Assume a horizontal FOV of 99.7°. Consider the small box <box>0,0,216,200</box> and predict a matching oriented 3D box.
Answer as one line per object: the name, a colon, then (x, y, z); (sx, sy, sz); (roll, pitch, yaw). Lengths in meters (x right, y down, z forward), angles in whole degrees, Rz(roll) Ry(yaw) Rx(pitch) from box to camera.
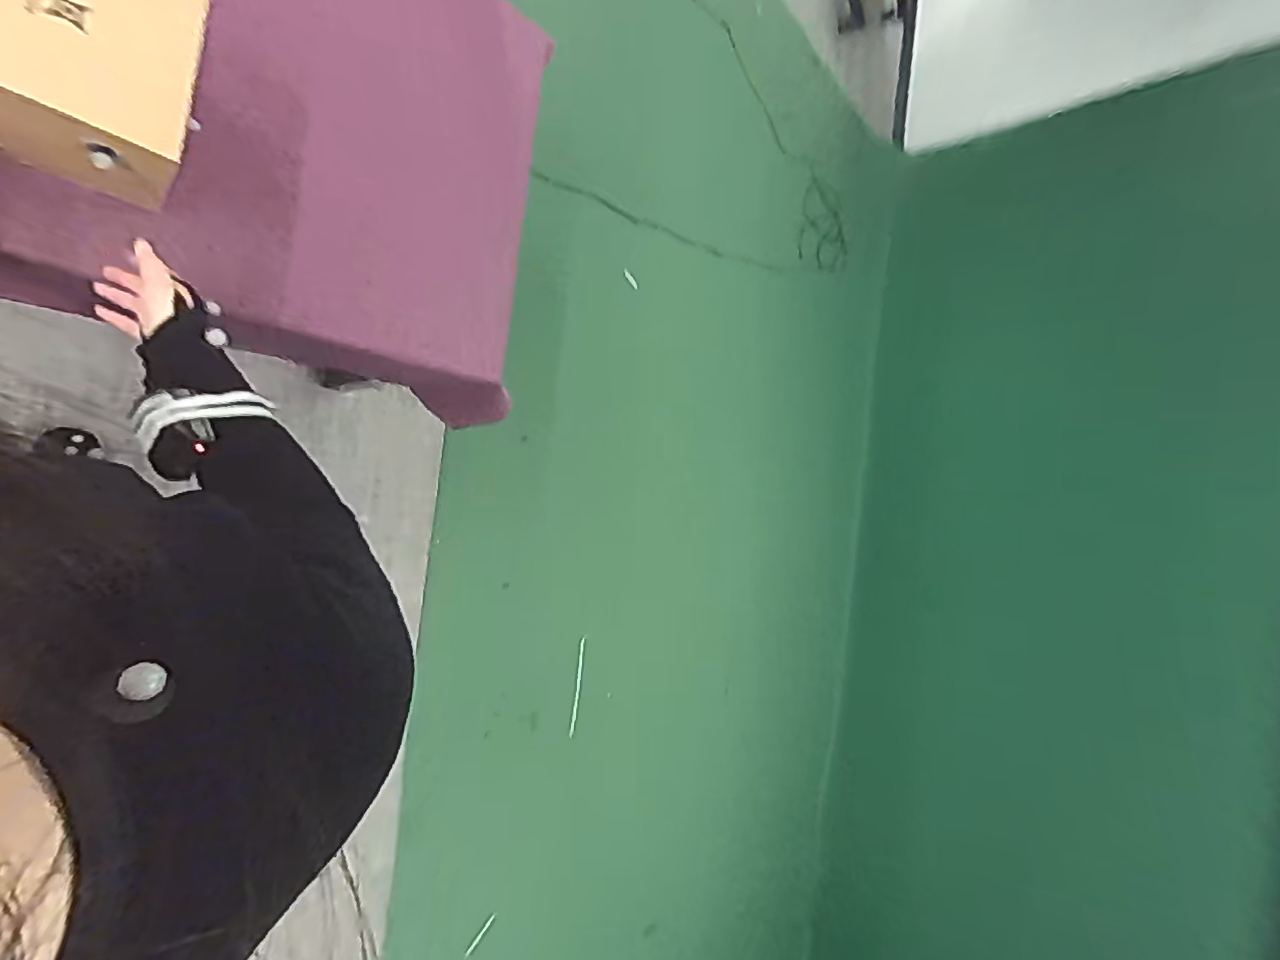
small box: (-0.514, -0.379, 0.482); (0.179, 0.176, 0.168); (11, 85, -45)
